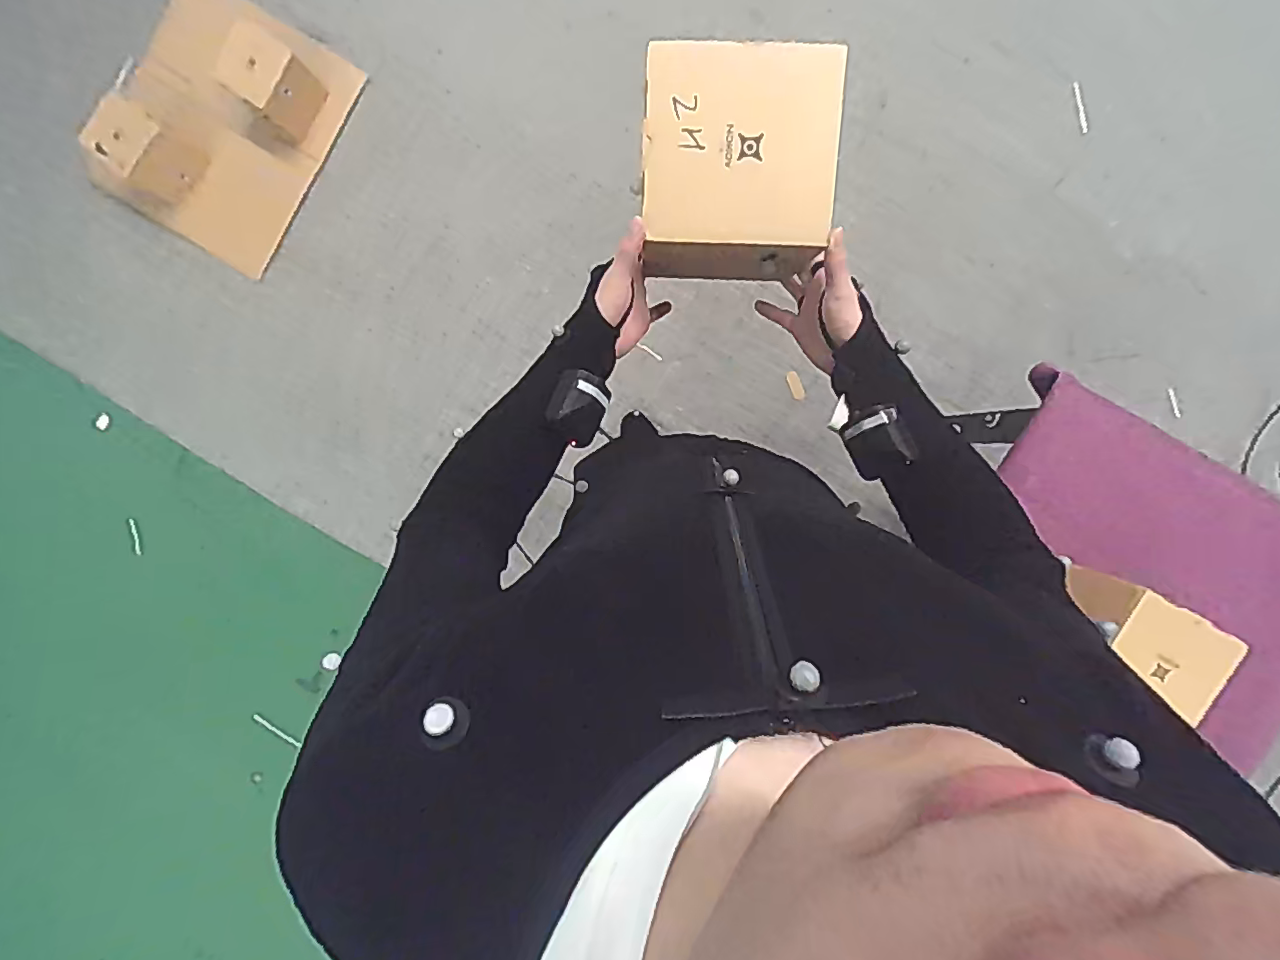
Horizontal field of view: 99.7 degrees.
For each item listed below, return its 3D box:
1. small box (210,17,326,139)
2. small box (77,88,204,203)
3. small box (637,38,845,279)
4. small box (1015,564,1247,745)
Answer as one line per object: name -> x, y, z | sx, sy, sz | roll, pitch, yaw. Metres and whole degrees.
small box -> -1.018, -1.100, 1.497 | 0.168, 0.176, 0.179 | 33, 95, -1
small box -> -1.384, -0.928, 1.516 | 0.168, 0.176, 0.179 | 40, 94, -1
small box -> 0.088, -0.311, 0.558 | 0.179, 0.176, 0.168 | 2, 99, 1
small box -> 0.726, 0.253, 0.828 | 0.168, 0.176, 0.179 | 29, 94, 0
